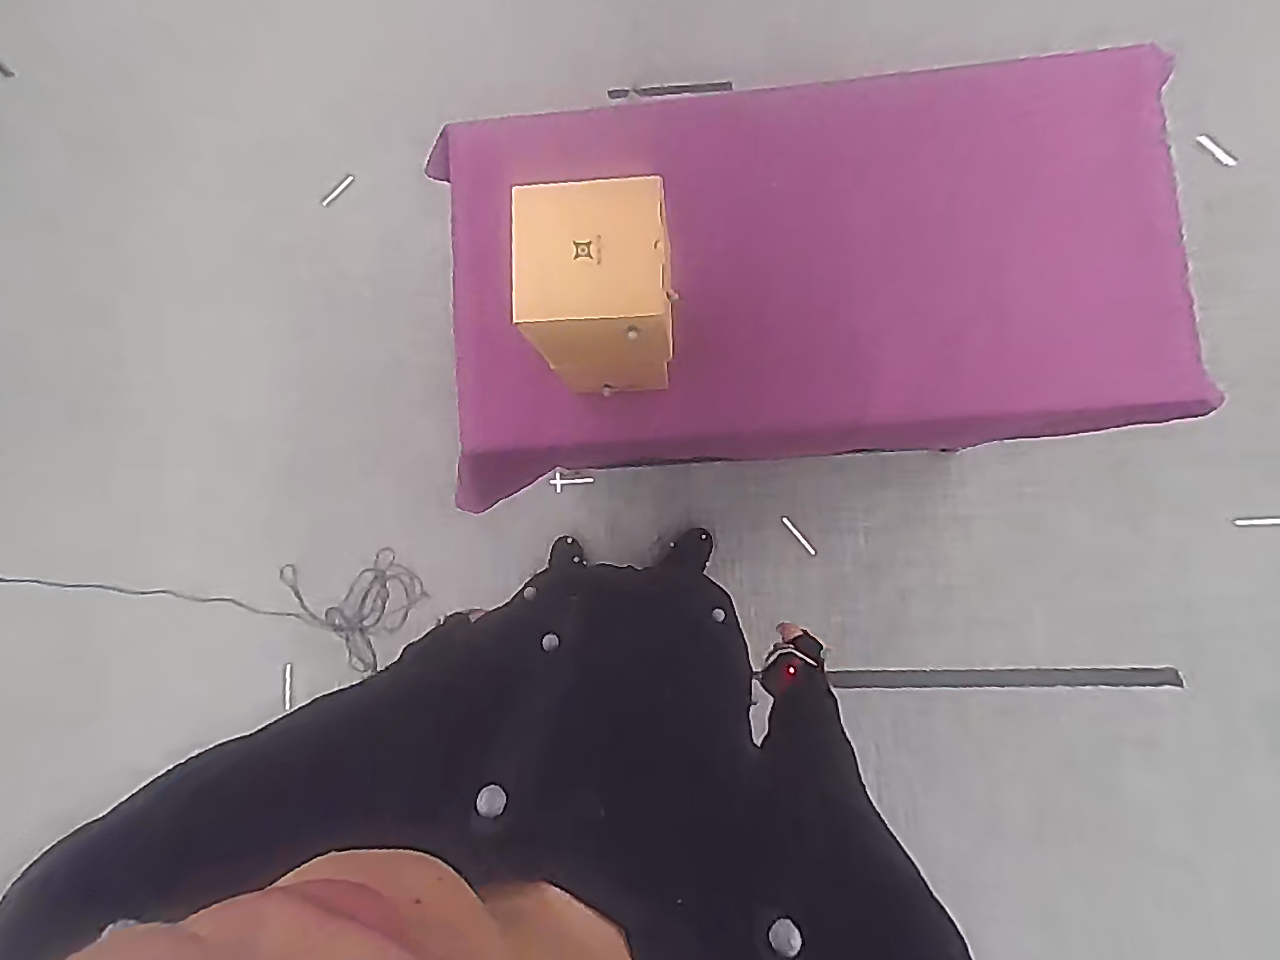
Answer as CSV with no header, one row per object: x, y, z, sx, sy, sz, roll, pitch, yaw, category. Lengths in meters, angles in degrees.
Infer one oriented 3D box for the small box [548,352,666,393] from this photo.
-0.046,-0.243,0.847,0.168,0.176,0.179,-2,86,5,small box

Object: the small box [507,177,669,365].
-0.056,-0.249,0.685,0.179,0.176,0.168,-1,86,5,small box
